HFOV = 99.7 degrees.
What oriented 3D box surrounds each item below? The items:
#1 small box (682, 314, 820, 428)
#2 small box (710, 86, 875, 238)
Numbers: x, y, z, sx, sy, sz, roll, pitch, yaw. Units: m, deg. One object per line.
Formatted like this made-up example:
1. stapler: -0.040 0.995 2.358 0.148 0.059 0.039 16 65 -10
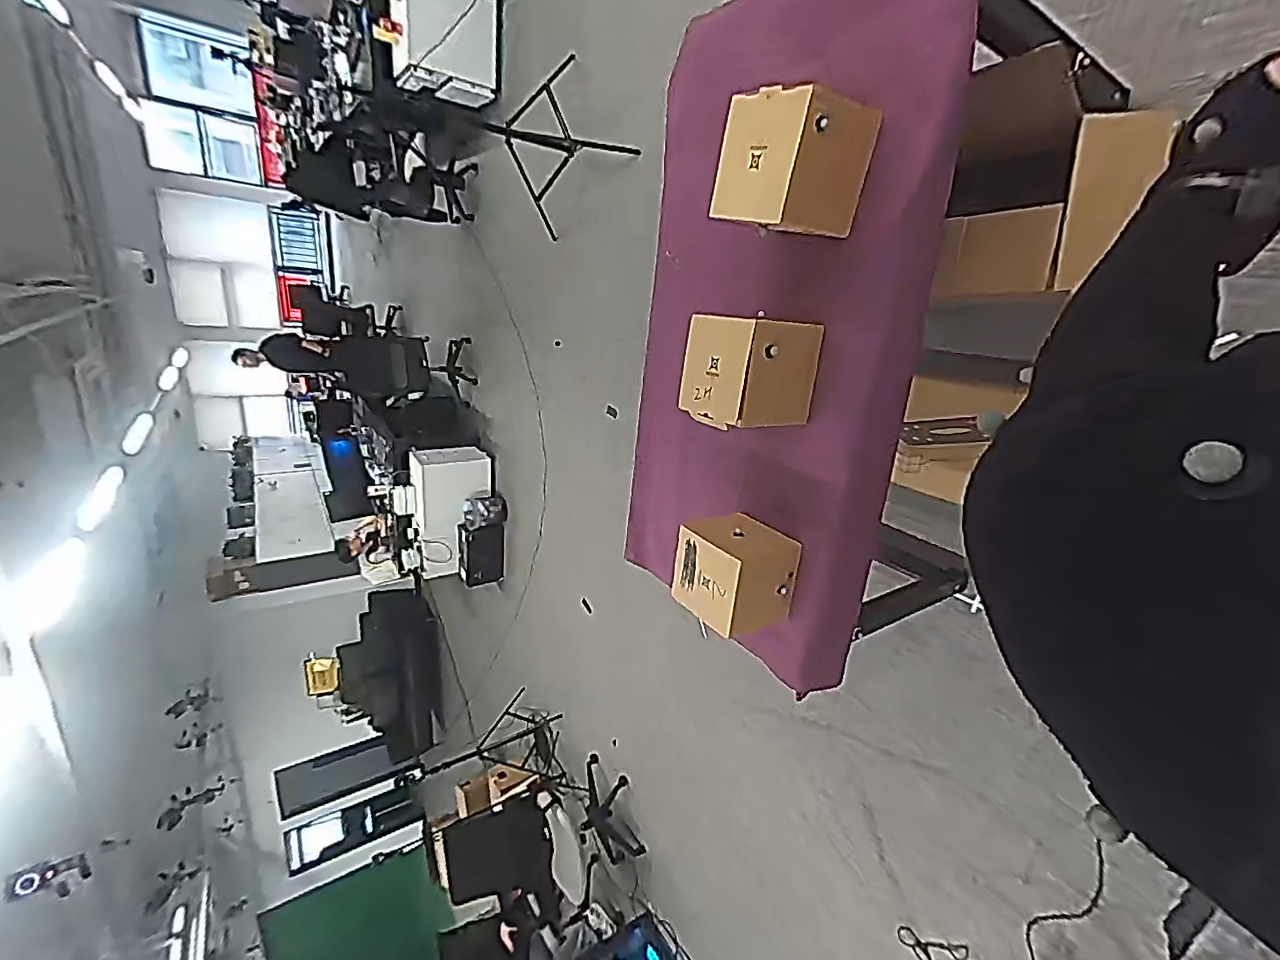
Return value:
1. small box: 0.200 -0.199 0.976 0.168 0.176 0.179 30 121 53
2. small box: 0.240 -0.493 0.859 0.168 0.176 0.179 38 126 47
